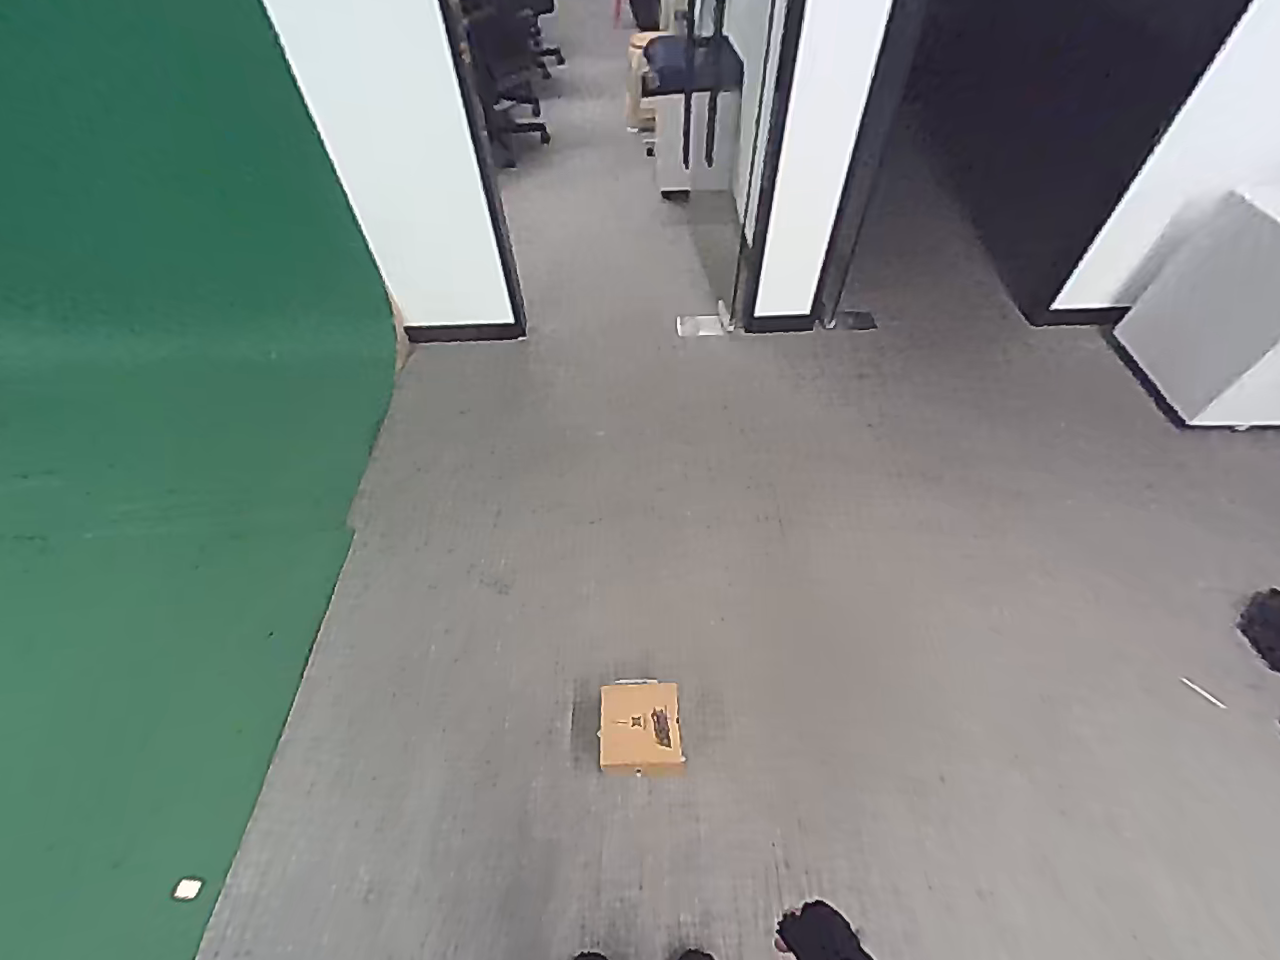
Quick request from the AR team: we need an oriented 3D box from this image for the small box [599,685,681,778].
[{"bbox_3d":[0.000,0.582,1.249,0.179,0.176,0.168,-3,52,1],"label":"small box"}]
